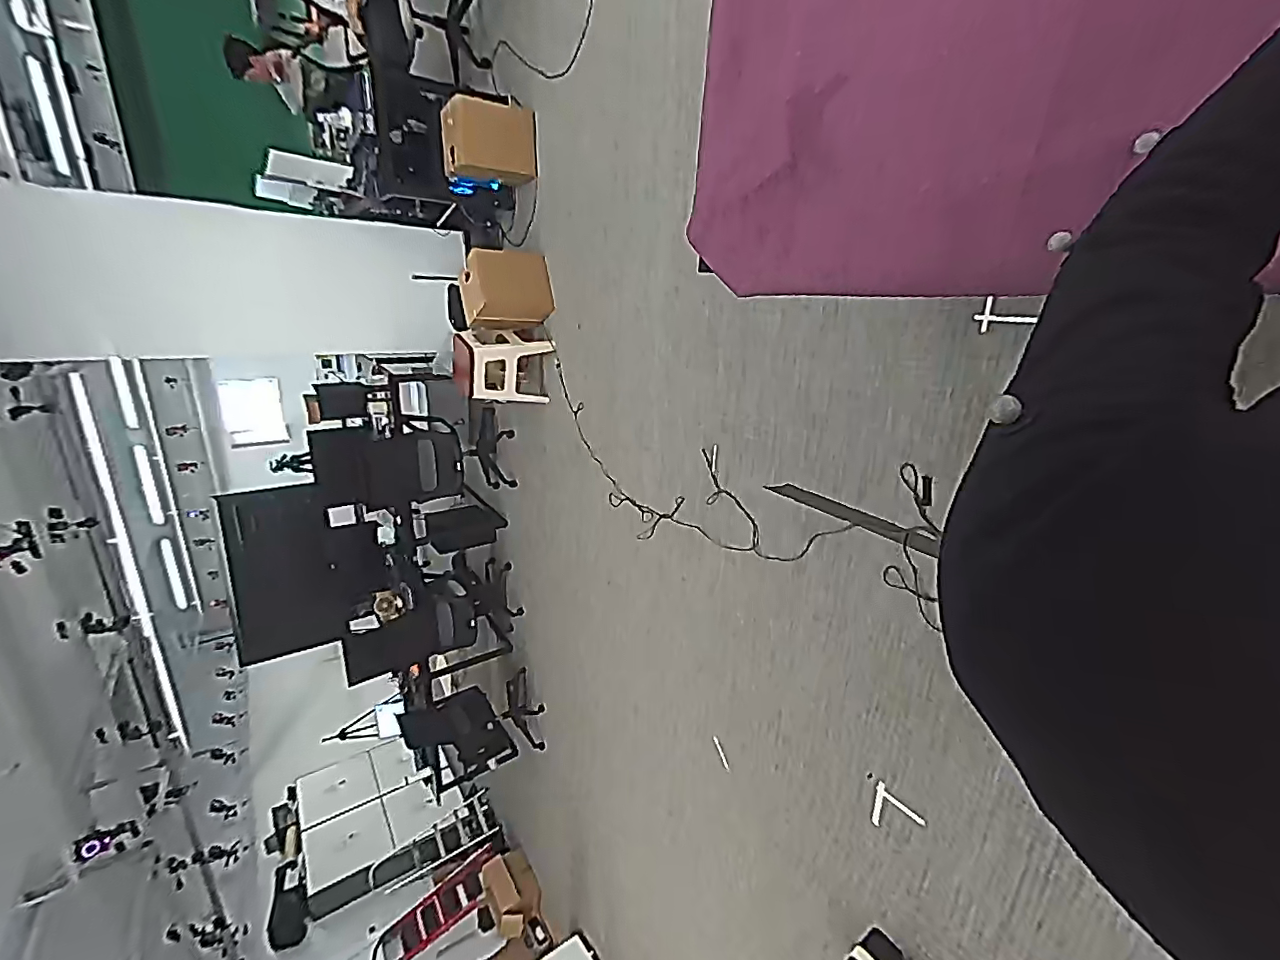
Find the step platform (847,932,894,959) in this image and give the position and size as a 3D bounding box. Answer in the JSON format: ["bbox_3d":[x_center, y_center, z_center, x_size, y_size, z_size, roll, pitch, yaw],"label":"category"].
[{"bbox_3d":[0.905,1.778,1.599,0.684,0.204,0.286,25,120,50],"label":"step platform"}]
